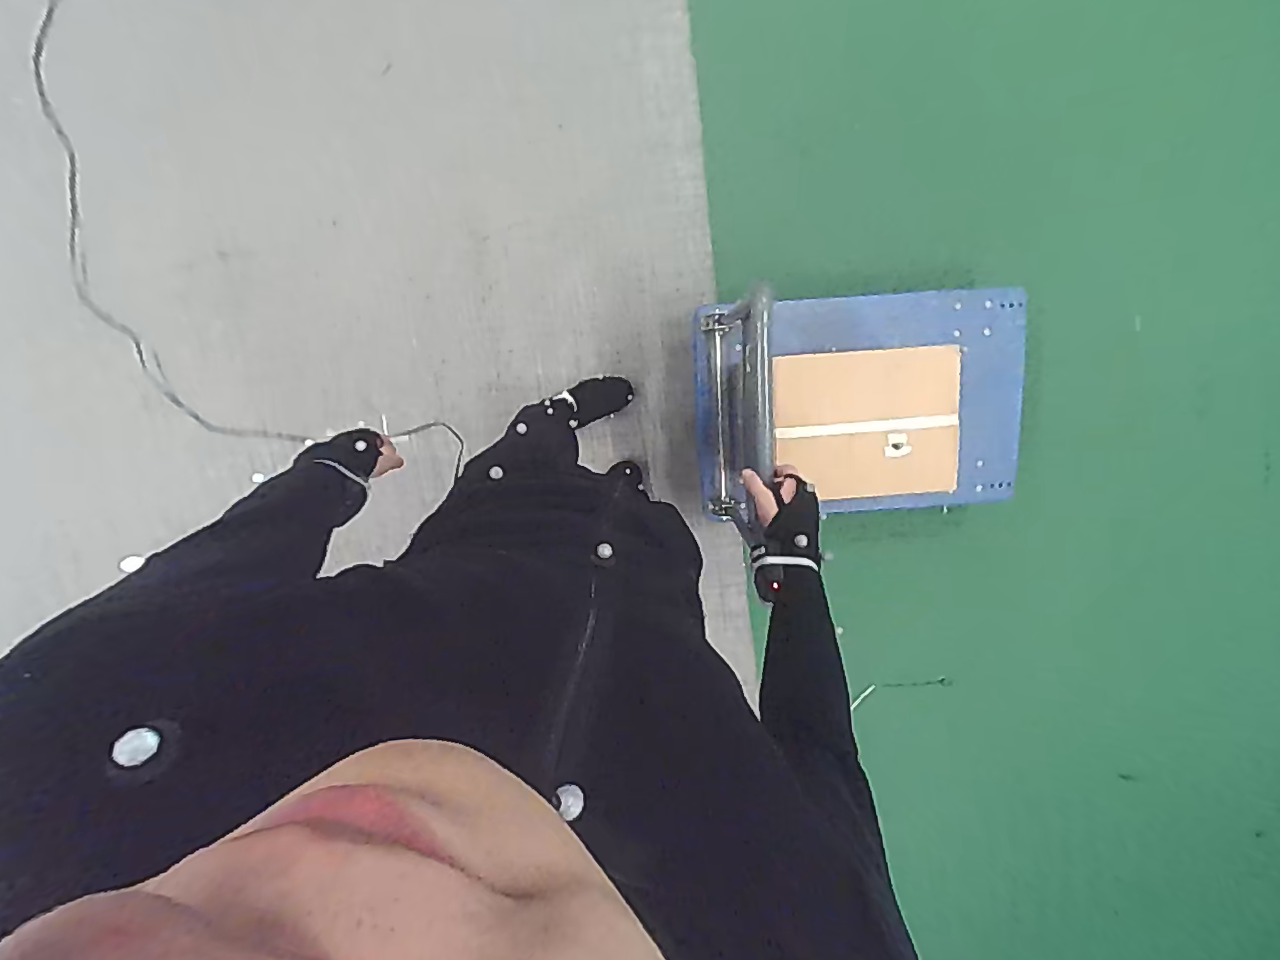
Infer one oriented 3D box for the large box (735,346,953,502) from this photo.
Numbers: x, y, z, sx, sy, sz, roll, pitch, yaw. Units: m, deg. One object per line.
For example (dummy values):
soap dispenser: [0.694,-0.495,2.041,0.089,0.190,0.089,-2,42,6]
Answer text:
large box: [0.463,-0.141,1.300,0.408,0.320,0.320,-4,100,-3]
